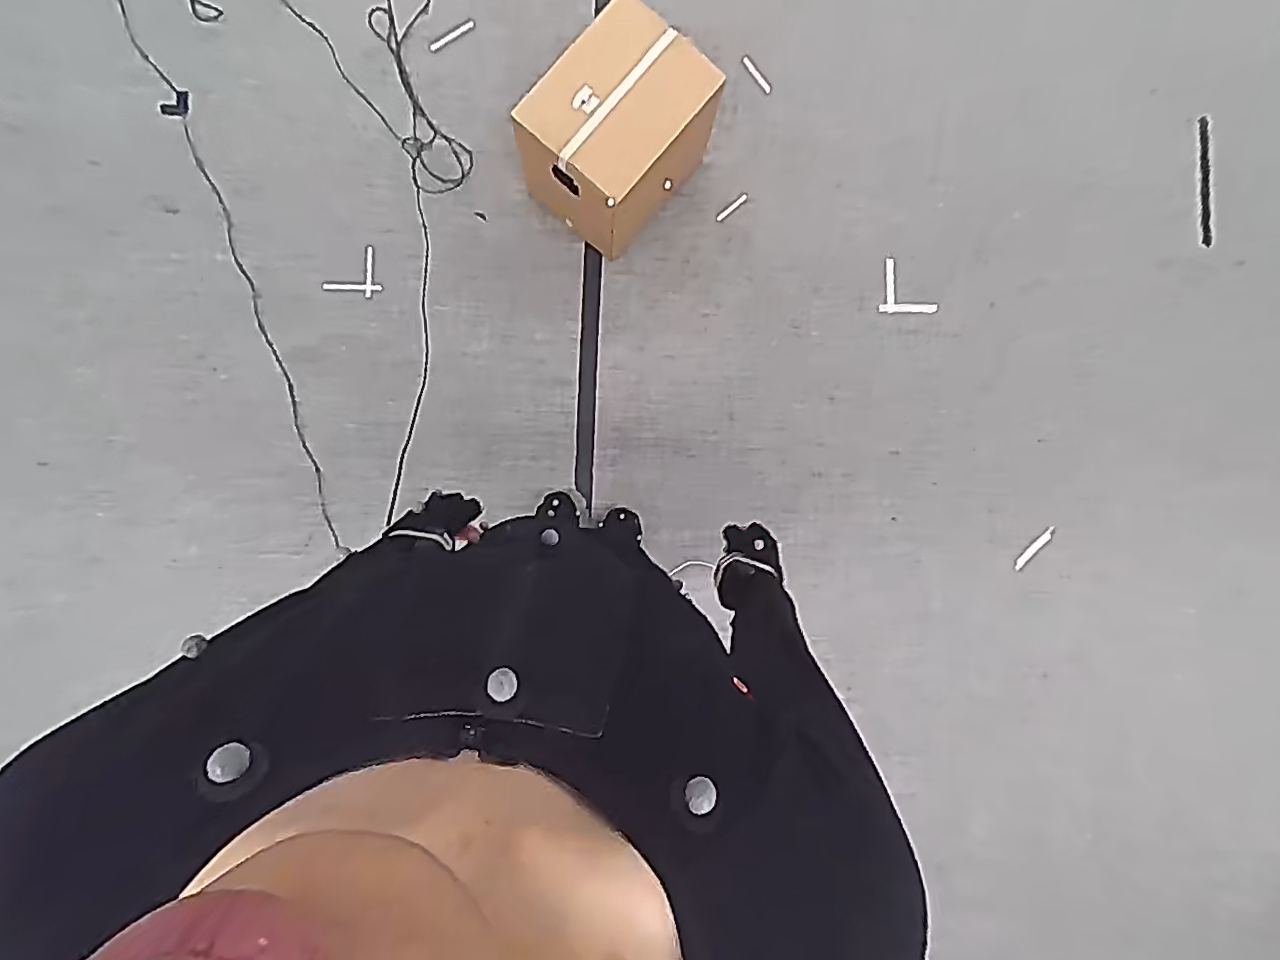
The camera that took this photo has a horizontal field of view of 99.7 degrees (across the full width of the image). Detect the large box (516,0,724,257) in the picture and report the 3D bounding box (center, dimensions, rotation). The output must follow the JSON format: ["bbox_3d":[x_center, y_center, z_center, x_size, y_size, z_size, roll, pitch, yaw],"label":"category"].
[{"bbox_3d":[-0.052,-0.872,1.377,0.320,0.320,0.408,39,87,-2],"label":"large box"}]
